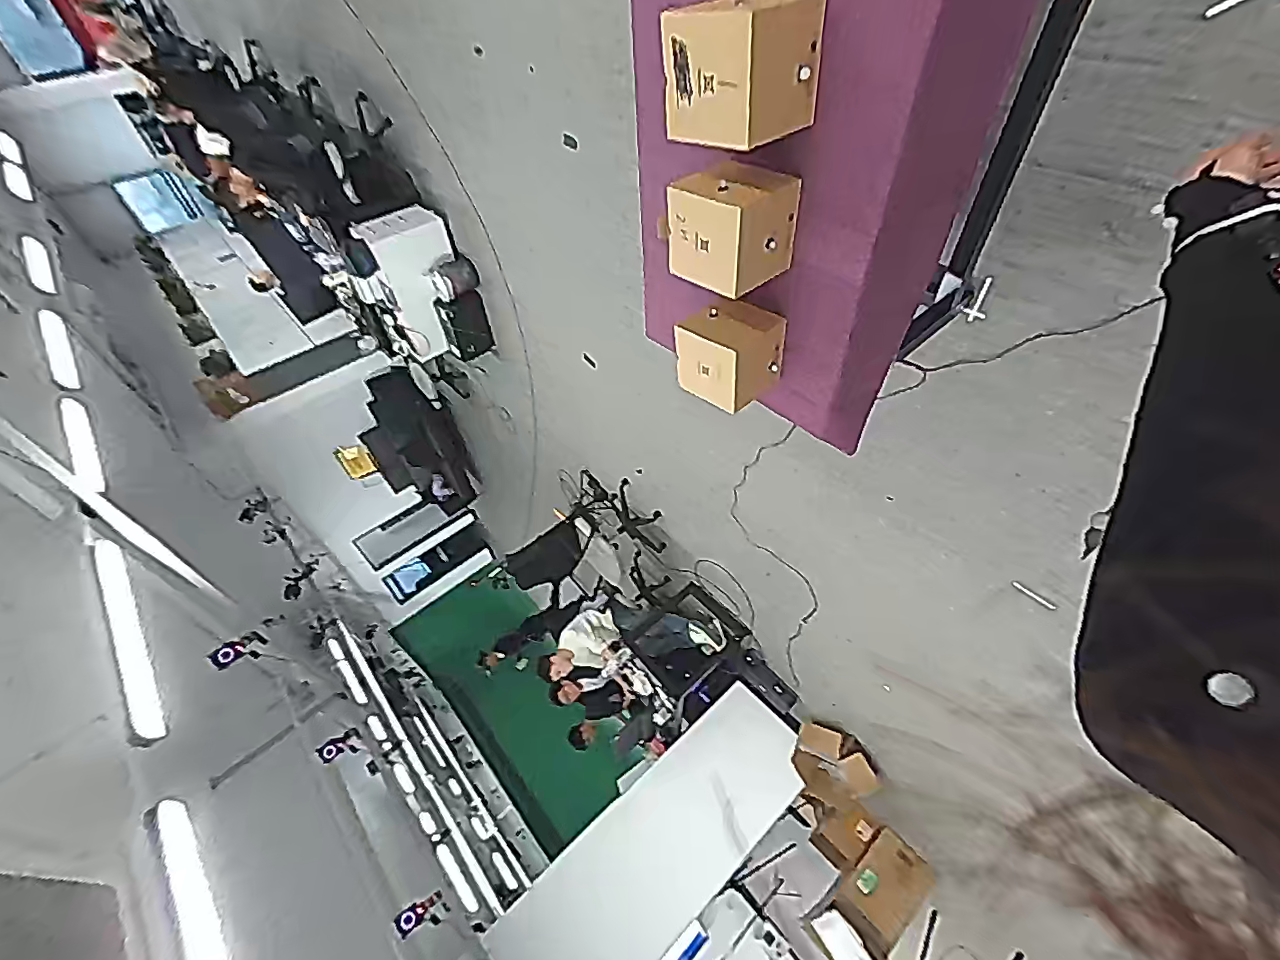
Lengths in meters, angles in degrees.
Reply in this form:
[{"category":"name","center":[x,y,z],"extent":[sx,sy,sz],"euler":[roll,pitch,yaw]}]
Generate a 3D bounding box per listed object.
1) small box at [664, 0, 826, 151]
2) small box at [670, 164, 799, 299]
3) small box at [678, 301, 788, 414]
[{"category":"small box","center":[0.160,-0.640,0.849],"extent":[0.179,0.176,0.168],"euler":[35,149,35]},{"category":"small box","center":[0.177,-0.476,1.026],"extent":[0.179,0.176,0.168],"euler":[38,150,33]},{"category":"small box","center":[0.206,-0.284,1.219],"extent":[0.179,0.176,0.168],"euler":[37,150,35]}]
